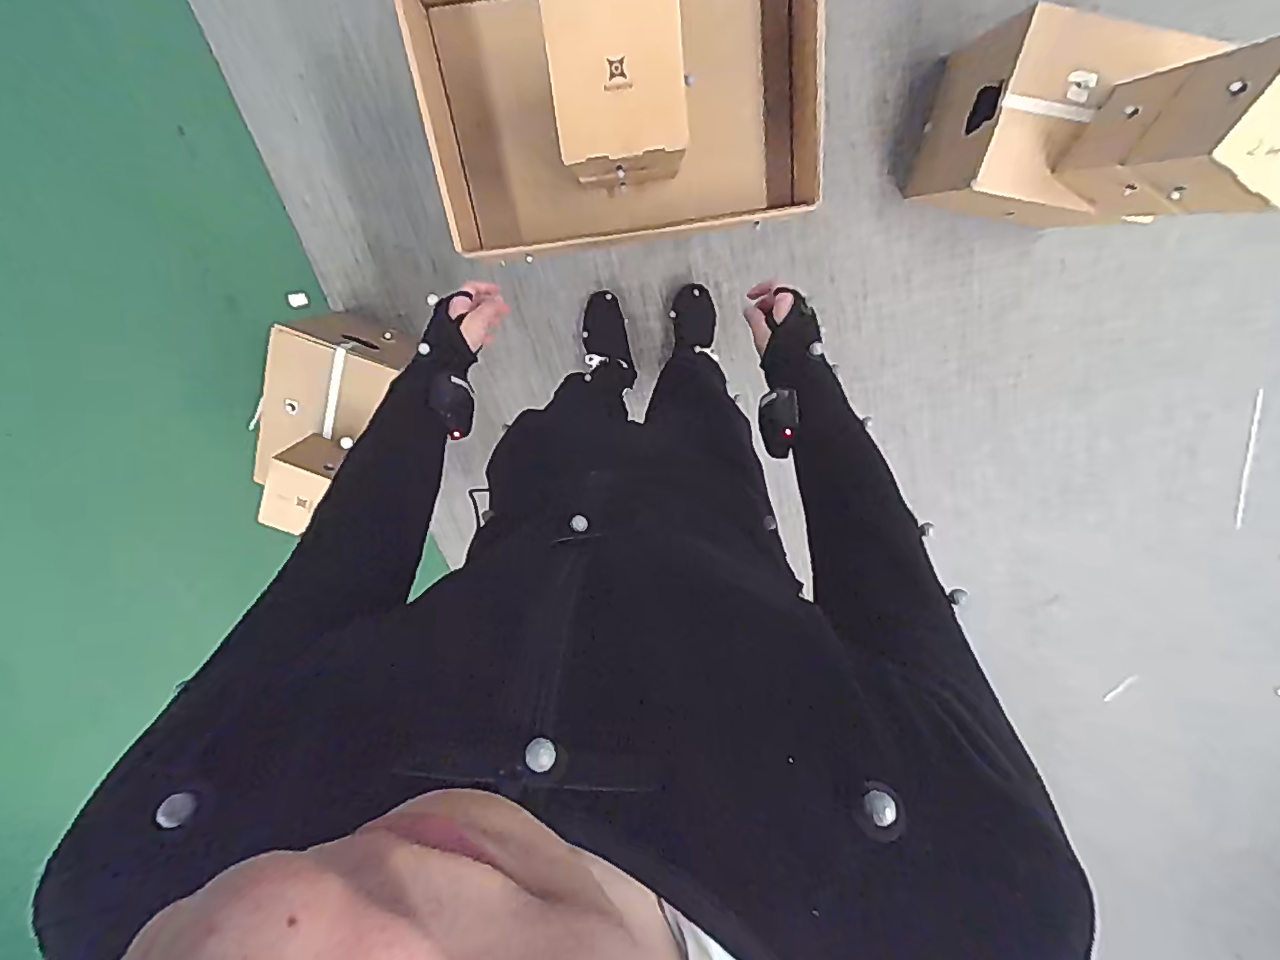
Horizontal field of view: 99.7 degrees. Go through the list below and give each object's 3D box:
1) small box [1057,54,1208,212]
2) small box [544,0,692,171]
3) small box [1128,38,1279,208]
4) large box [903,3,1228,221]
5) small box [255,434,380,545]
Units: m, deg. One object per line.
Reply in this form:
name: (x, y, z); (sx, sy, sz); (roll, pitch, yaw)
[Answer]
small box: (0.933, -0.619, 0.992); (0.168, 0.176, 0.179); (27, 111, -12)
small box: (-0.024, -0.529, 0.721); (0.168, 0.176, 0.179); (-6, 115, 3)
small box: (0.939, -0.549, 0.841); (0.168, 0.176, 0.179); (26, 113, -12)
large box: (0.884, -0.769, 1.192); (0.408, 0.320, 0.320); (8, 113, -4)
small box: (-0.724, 0.014, 1.230); (0.179, 0.176, 0.168); (22, 111, -11)
